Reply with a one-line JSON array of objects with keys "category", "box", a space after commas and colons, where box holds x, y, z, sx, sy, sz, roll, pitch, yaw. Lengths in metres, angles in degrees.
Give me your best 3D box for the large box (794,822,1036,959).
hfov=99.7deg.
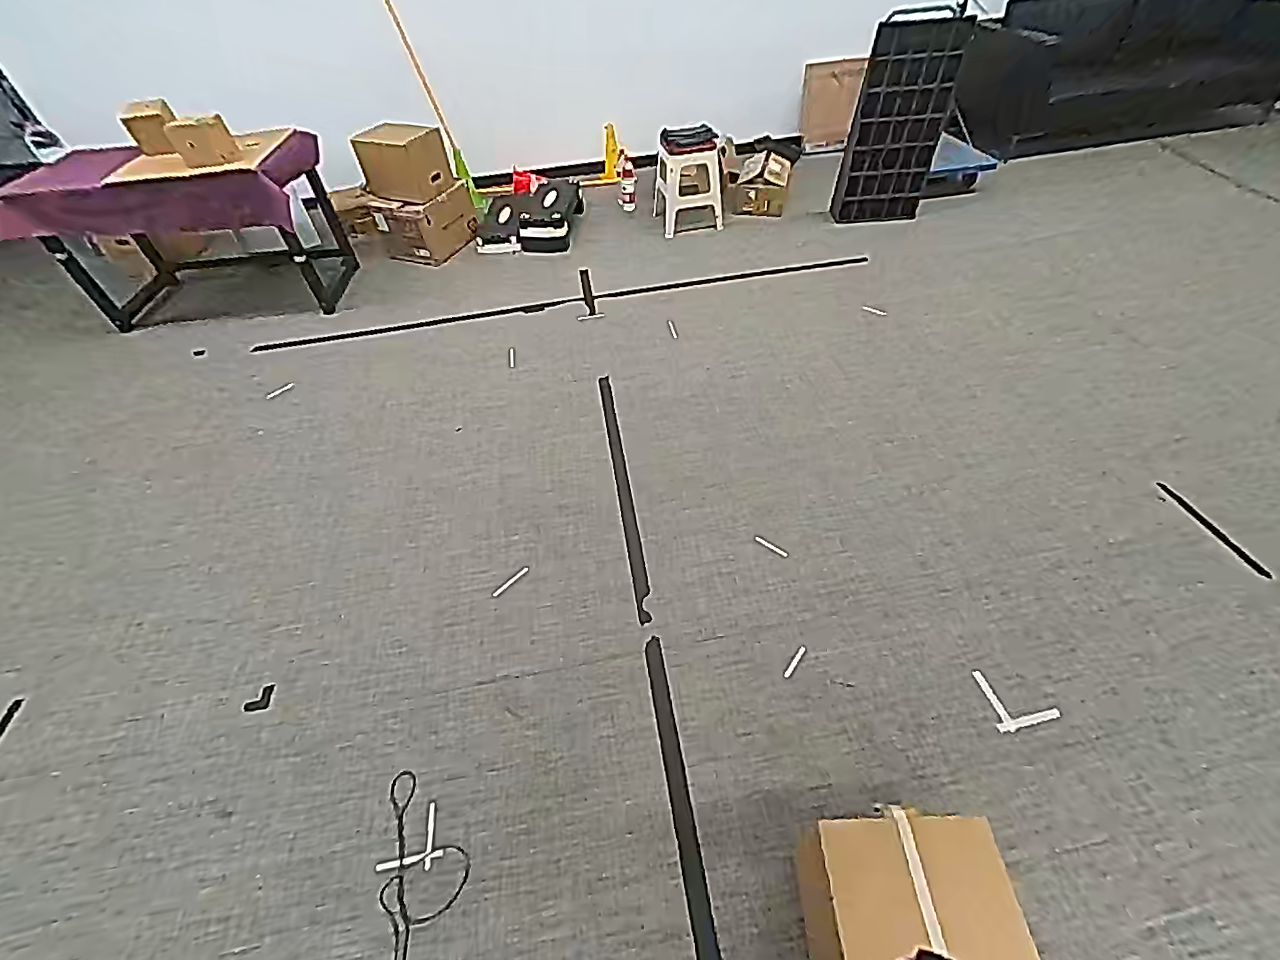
[{"category": "large box", "box": [0.500, 0.891, 0.992, 0.320, 0.320, 0.408, -3, 48, 2]}]
